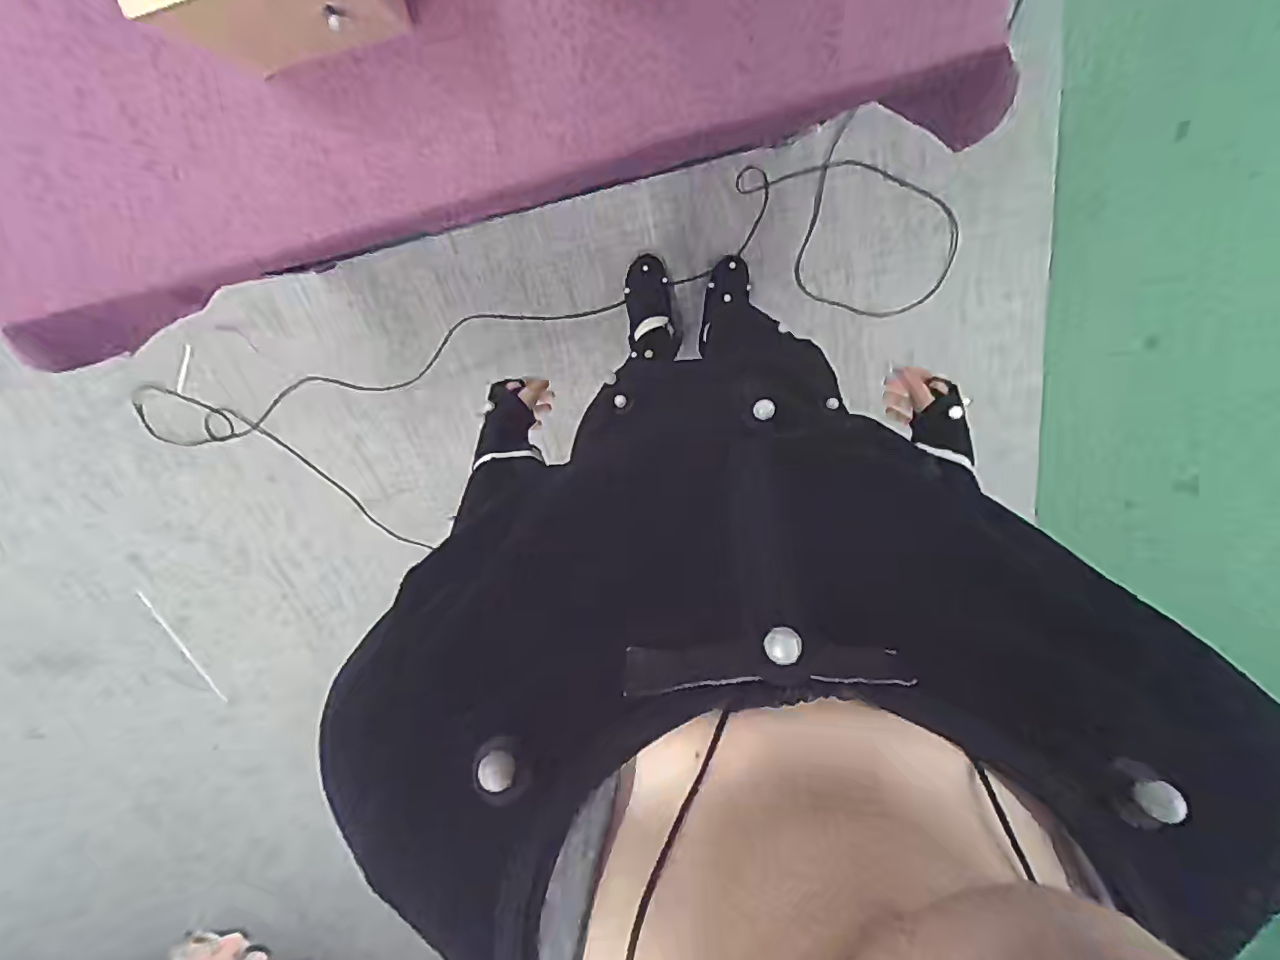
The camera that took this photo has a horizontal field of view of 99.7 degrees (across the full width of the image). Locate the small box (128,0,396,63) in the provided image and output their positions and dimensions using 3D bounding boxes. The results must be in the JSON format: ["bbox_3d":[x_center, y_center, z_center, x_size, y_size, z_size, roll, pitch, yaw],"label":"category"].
[{"bbox_3d":[-0.331,-0.489,0.453,0.179,0.176,0.168,-13,113,5],"label":"small box"}]
